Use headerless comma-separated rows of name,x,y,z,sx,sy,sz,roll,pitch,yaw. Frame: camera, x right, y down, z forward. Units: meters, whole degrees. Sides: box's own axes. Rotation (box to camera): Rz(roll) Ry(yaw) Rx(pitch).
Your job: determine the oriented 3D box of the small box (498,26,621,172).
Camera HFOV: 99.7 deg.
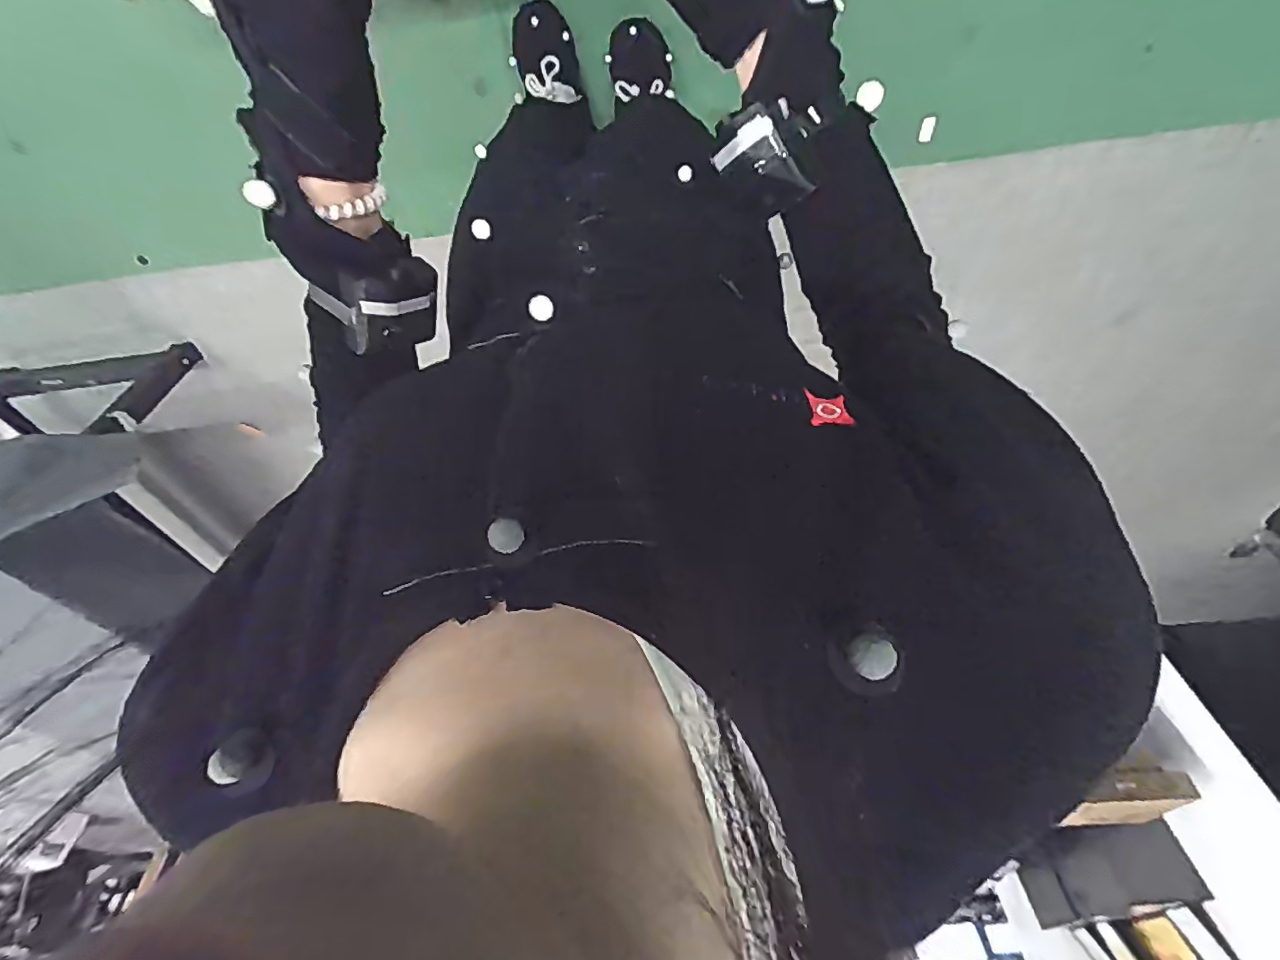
small box,-0.164,-0.751,1.069,0.179,0.176,0.168,29,138,-6
